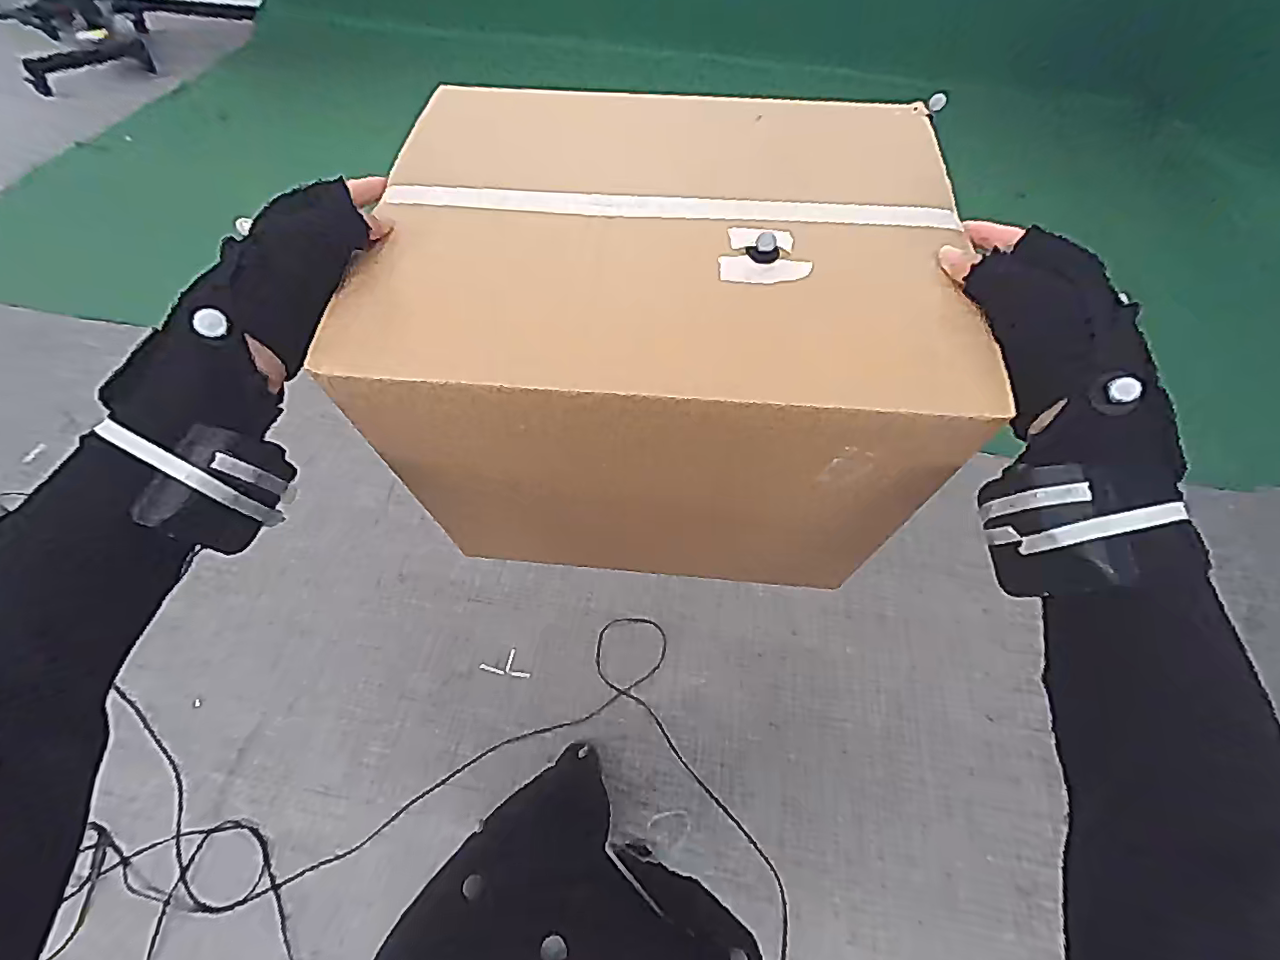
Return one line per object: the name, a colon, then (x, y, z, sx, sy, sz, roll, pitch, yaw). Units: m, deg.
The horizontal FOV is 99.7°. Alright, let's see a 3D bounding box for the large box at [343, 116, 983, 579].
large box: (0.019, -0.109, 0.532, 0.408, 0.320, 0.320, 5, 61, 2)
